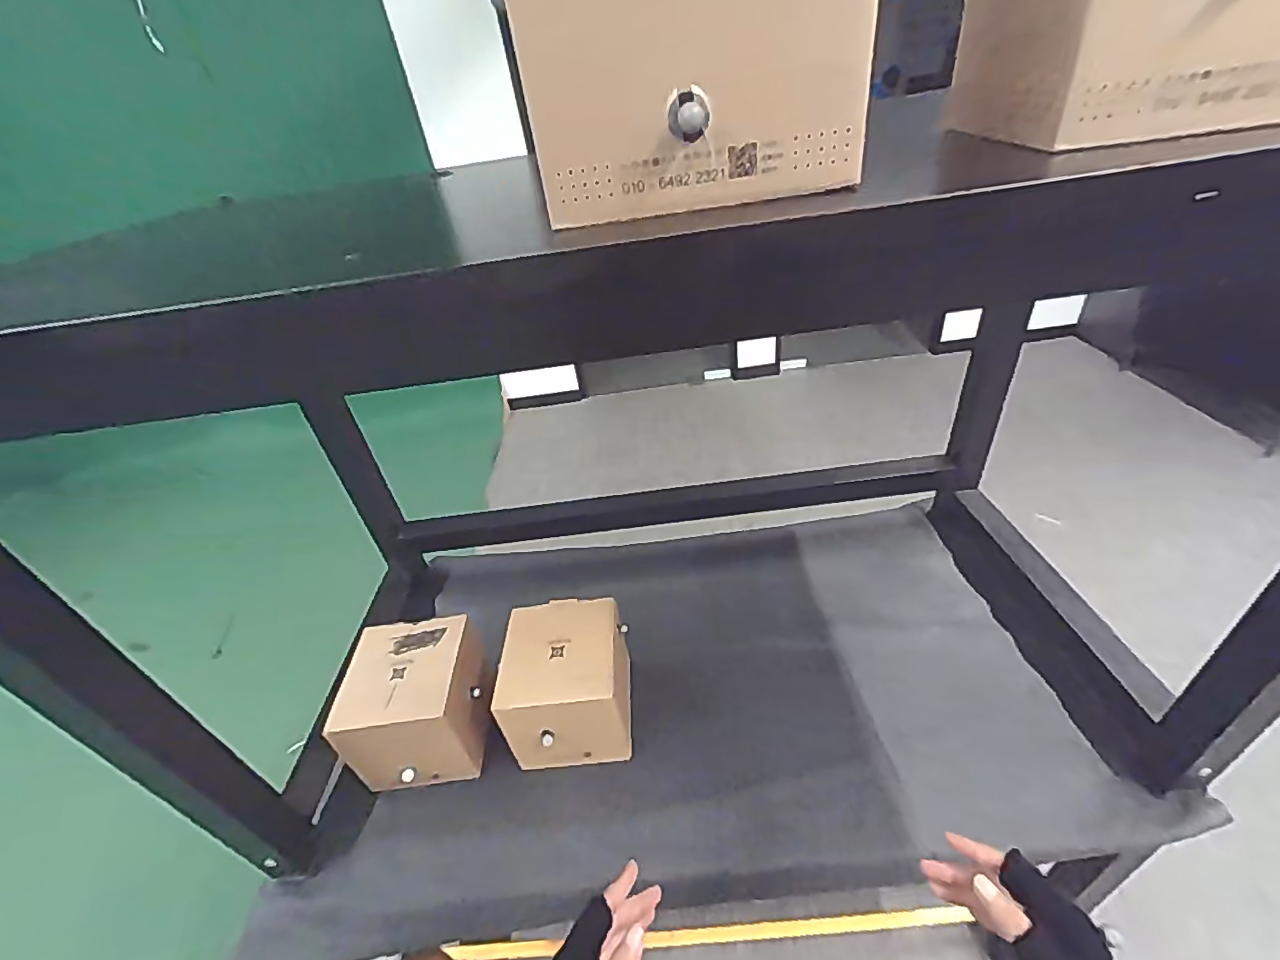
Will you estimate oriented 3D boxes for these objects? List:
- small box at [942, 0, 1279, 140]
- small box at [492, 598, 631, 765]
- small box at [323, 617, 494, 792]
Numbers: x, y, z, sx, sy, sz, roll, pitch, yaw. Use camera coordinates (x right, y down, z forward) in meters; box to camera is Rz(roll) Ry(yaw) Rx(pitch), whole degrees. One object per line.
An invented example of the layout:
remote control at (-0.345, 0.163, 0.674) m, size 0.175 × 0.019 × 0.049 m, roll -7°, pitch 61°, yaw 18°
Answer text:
small box at (0.291, -0.297, 0.297) m, size 0.168 × 0.176 × 0.179 m, roll -2°, pitch 35°, yaw 10°
small box at (-0.106, 0.307, 0.816) m, size 0.168 × 0.176 × 0.179 m, roll -7°, pitch 34°, yaw 3°
small box at (-0.332, 0.337, 0.820) m, size 0.168 × 0.176 × 0.179 m, roll -8°, pitch 35°, yaw 1°
